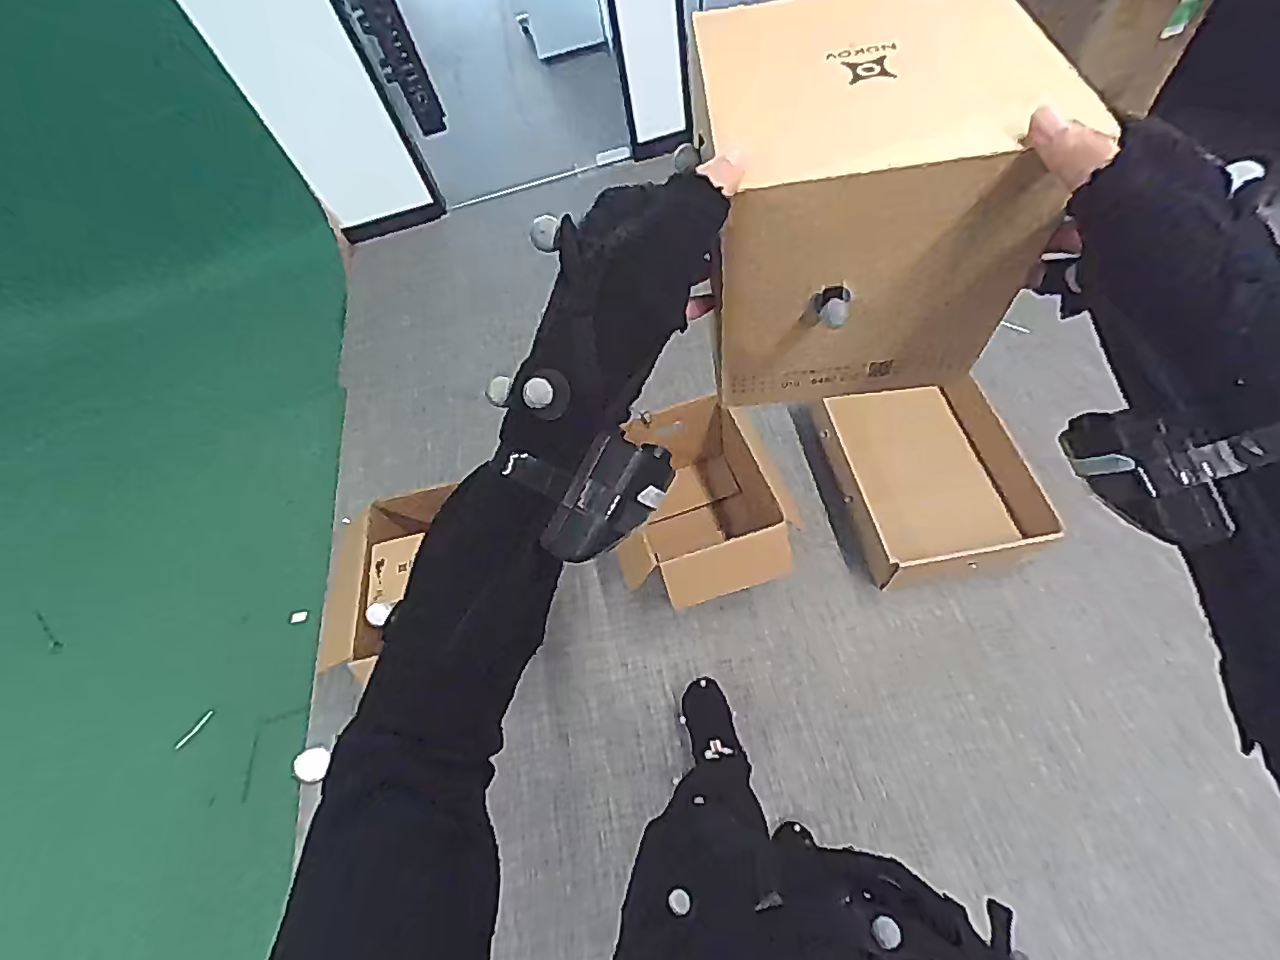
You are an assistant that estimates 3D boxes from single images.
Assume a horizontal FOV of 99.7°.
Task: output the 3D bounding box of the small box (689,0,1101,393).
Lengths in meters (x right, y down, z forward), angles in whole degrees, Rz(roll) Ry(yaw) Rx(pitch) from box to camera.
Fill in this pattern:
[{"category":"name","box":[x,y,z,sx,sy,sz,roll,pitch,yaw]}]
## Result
[{"category":"small box","box":[0.124,-0.170,0.345,0.168,0.176,0.179,-6,60,6]}]
